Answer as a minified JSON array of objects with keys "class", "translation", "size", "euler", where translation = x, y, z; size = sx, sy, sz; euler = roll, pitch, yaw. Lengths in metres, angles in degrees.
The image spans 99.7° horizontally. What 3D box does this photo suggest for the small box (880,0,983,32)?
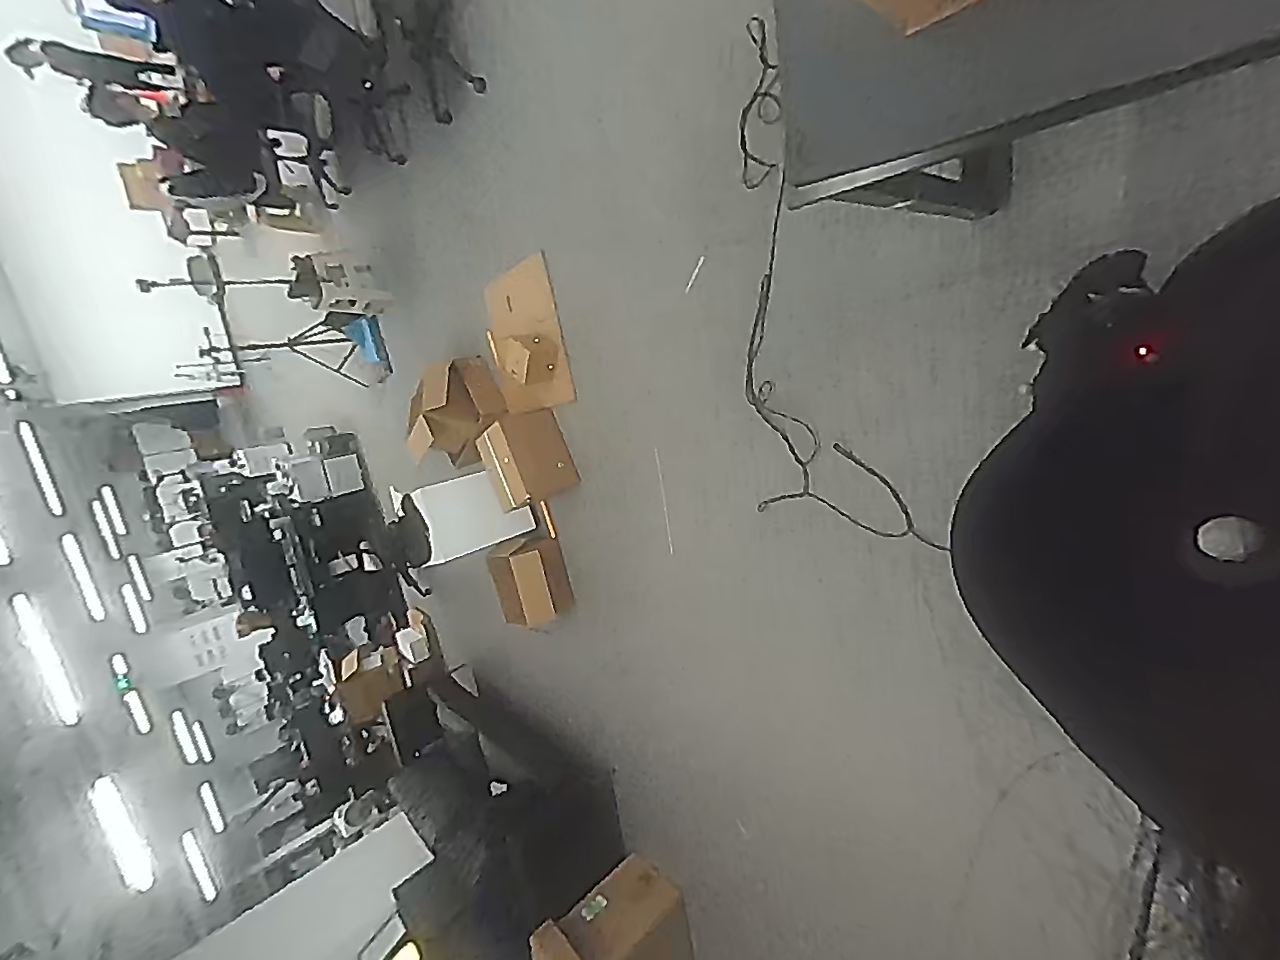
[{"class":"small box","translation":[0.308,-0.590,0.518],"size":[0.168,0.176,0.179],"euler":[6,108,47]}]
